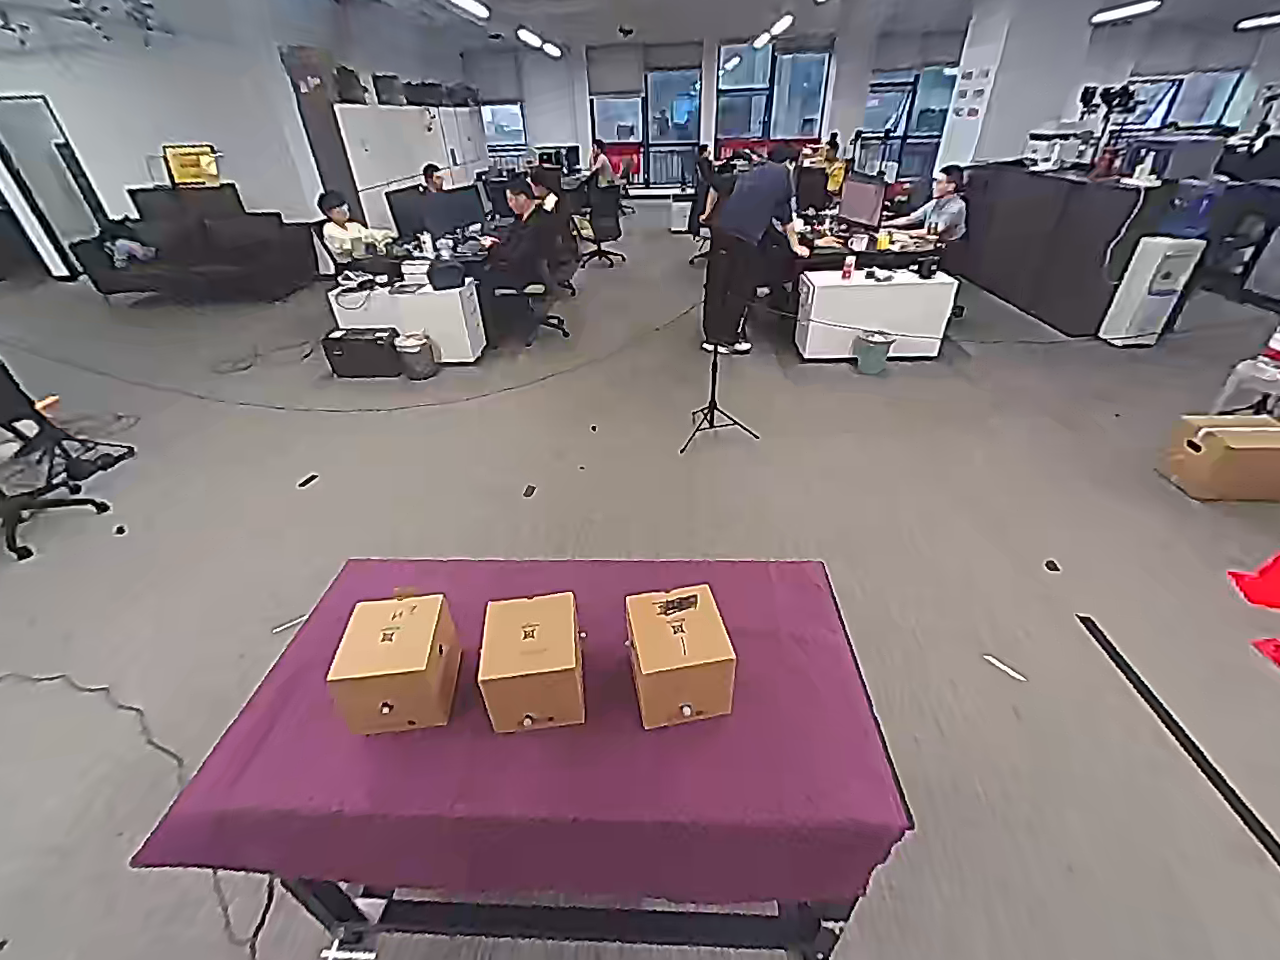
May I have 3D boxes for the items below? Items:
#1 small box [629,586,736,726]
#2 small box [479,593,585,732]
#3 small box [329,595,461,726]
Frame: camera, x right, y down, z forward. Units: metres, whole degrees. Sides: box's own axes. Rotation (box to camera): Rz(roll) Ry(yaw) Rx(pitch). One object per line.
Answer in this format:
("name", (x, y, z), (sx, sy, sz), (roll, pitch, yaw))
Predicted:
("small box", (0.072, 0.330, 1.021), (0.168, 0.176, 0.179), (-7, 35, -7))
("small box", (-0.195, 0.342, 1.020), (0.168, 0.176, 0.179), (-6, 34, -4))
("small box", (-0.448, 0.345, 1.025), (0.168, 0.176, 0.179), (-4, 34, -4))
